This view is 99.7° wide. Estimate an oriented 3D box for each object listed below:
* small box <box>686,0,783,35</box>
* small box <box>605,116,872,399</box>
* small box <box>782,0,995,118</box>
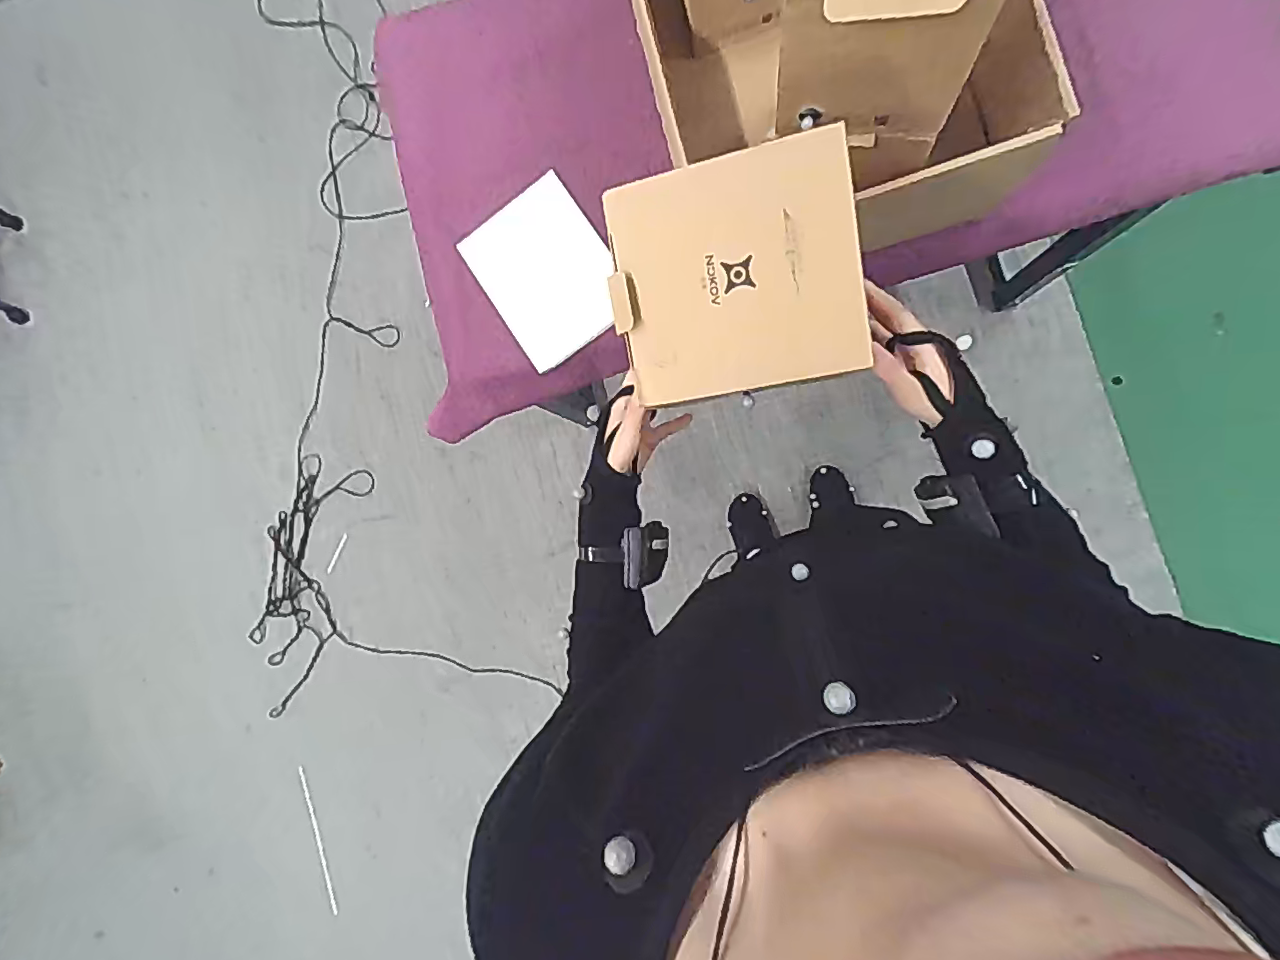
[{"bbox_3d":[0.126,-0.711,0.674,0.168,0.176,0.179,-14,88,10],"label":"small box"},{"bbox_3d":[0.089,-0.162,0.463,0.179,0.176,0.168,-7,97,16],"label":"small box"},{"bbox_3d":[0.219,-0.455,0.479,0.168,0.176,0.179,7,88,13],"label":"small box"}]
